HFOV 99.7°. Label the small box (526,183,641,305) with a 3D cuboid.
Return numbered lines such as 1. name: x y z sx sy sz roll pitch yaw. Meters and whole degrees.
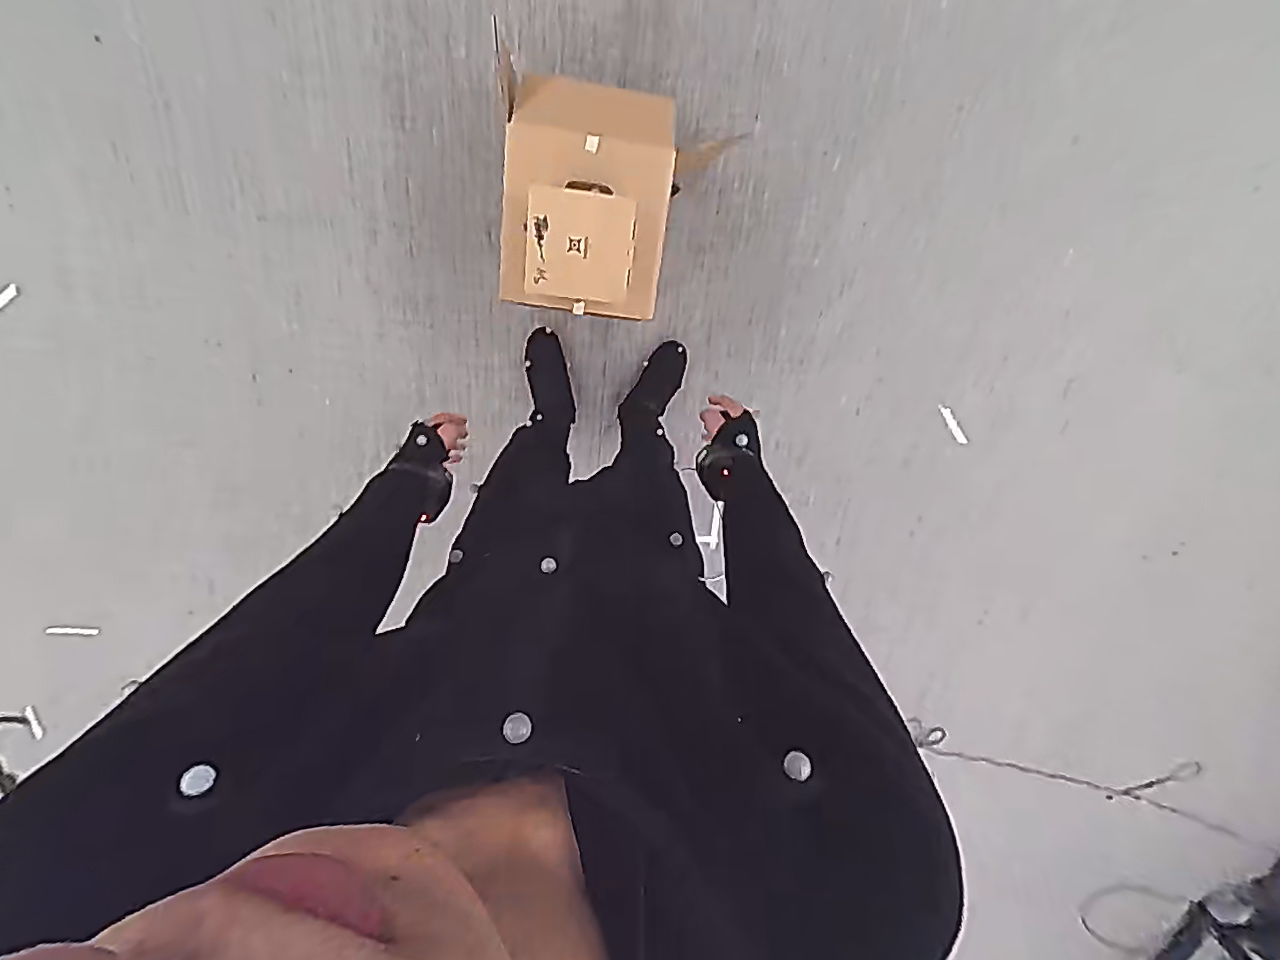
1. small box: -0.102 -0.415 0.958 0.179 0.176 0.168 5 113 -7
